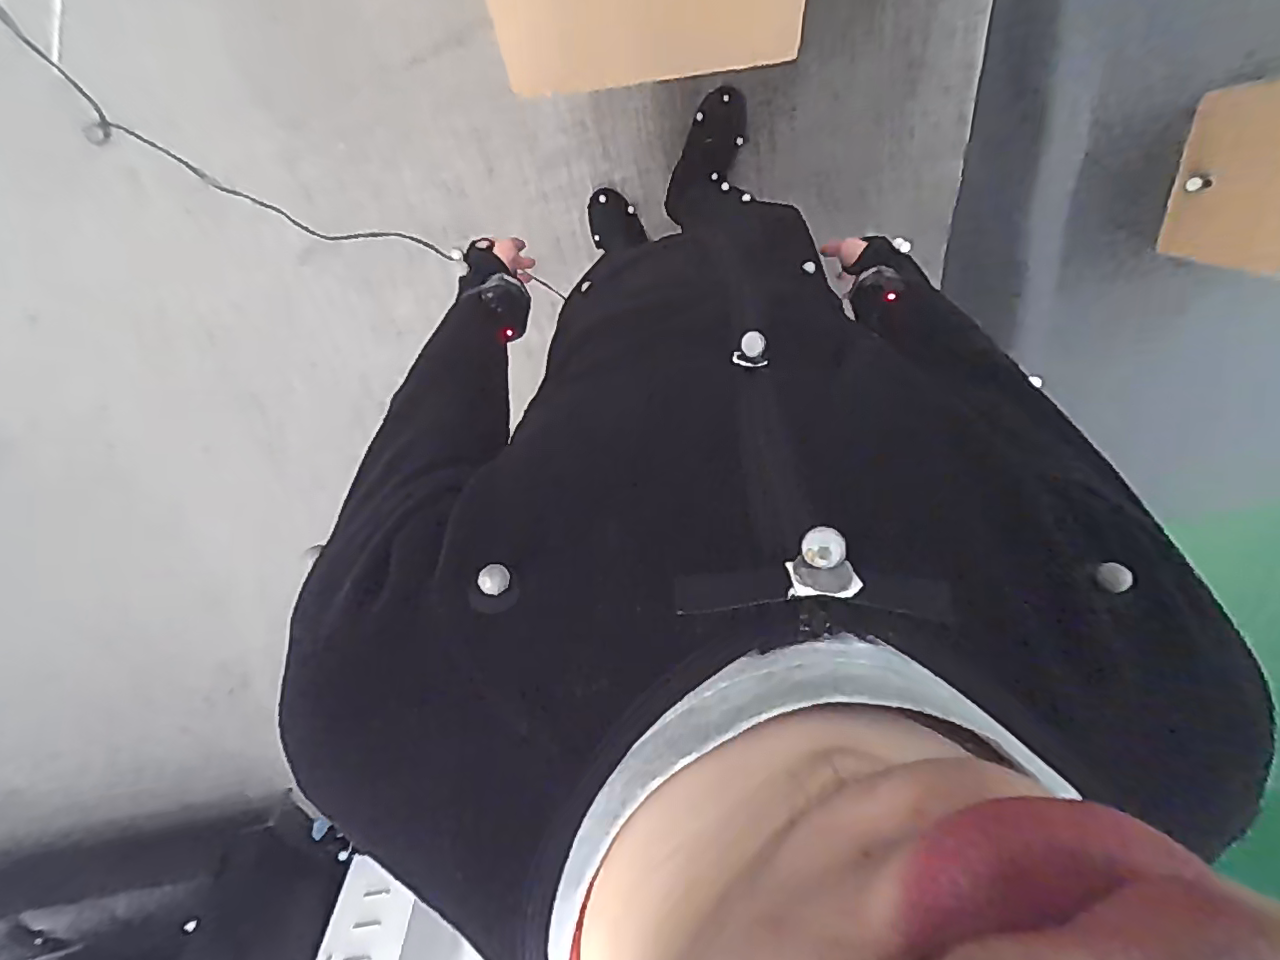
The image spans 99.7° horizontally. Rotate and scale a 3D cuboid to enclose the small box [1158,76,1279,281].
[{"bbox_3d":[0.736,-0.340,0.591,0.168,0.176,0.179,-10,123,4],"label":"small box"}]
